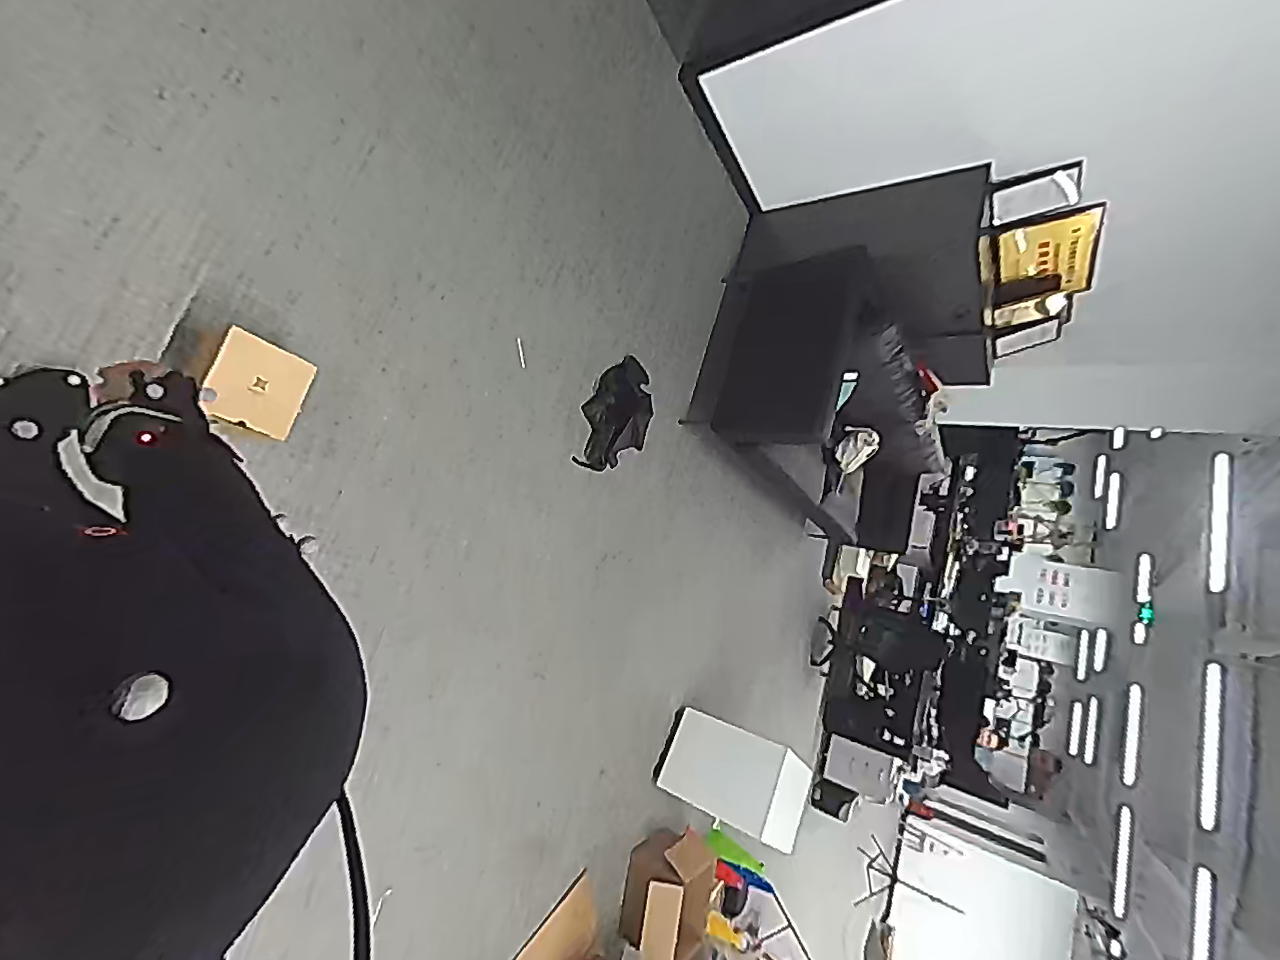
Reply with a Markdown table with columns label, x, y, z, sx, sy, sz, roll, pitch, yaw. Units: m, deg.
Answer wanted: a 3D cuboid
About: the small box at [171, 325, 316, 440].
| label | x | y | z | sx | sy | sz | roll | pitch | yaw |
| --- | --- | --- | --- | --- | --- | --- | --- | --- | --- |
| small box | -0.818 | -0.197 | 1.115 | 0.168 | 0.176 | 0.179 | 32 | 71 | -52 |
